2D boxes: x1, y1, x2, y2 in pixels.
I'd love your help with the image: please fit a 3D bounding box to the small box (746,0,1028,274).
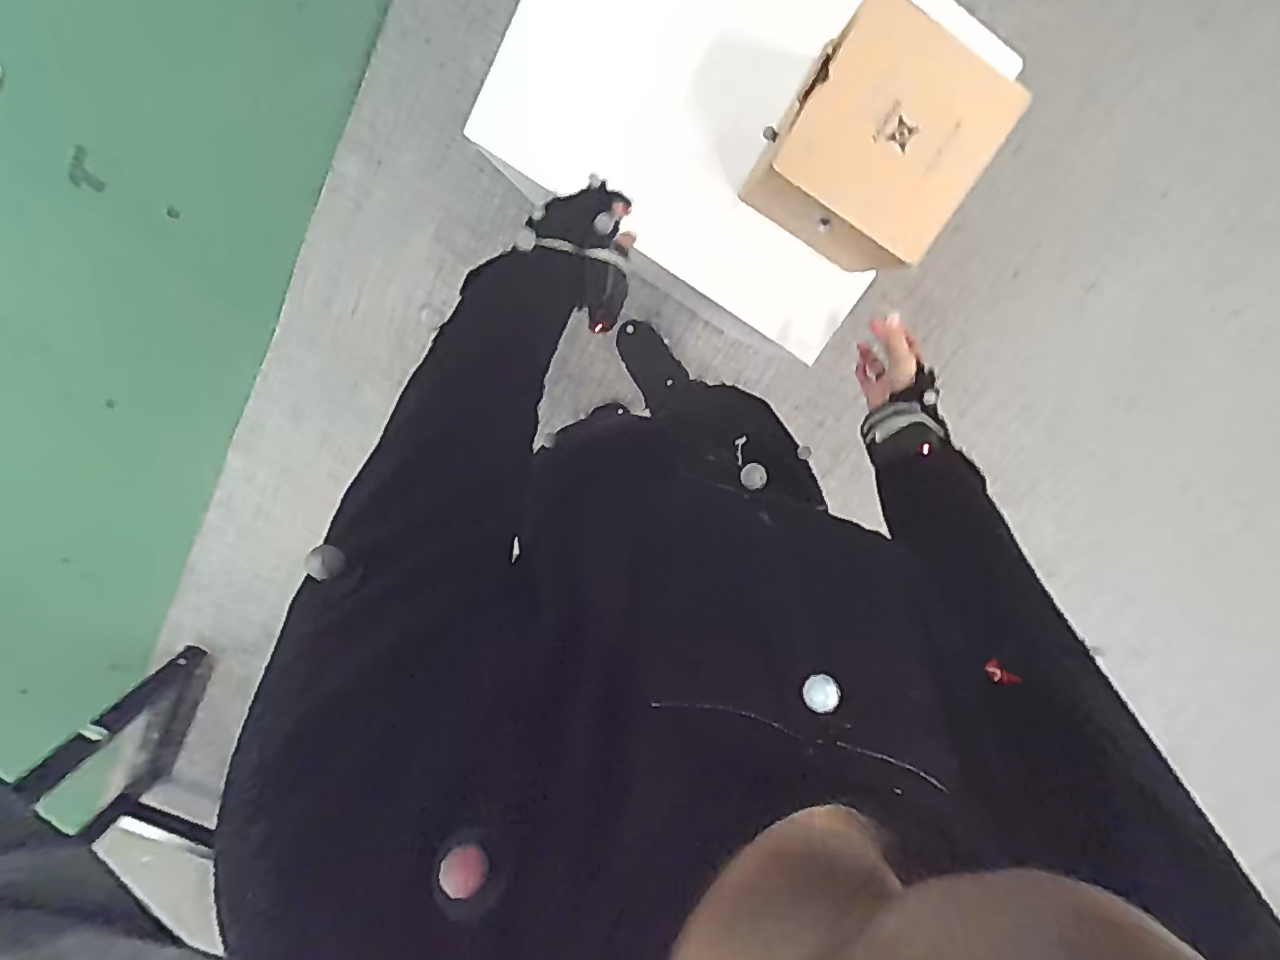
[{"bbox_3d":[0.233,-0.331,0.566,0.179,0.176,0.168,29,106,-9],"label":"small box"}]
